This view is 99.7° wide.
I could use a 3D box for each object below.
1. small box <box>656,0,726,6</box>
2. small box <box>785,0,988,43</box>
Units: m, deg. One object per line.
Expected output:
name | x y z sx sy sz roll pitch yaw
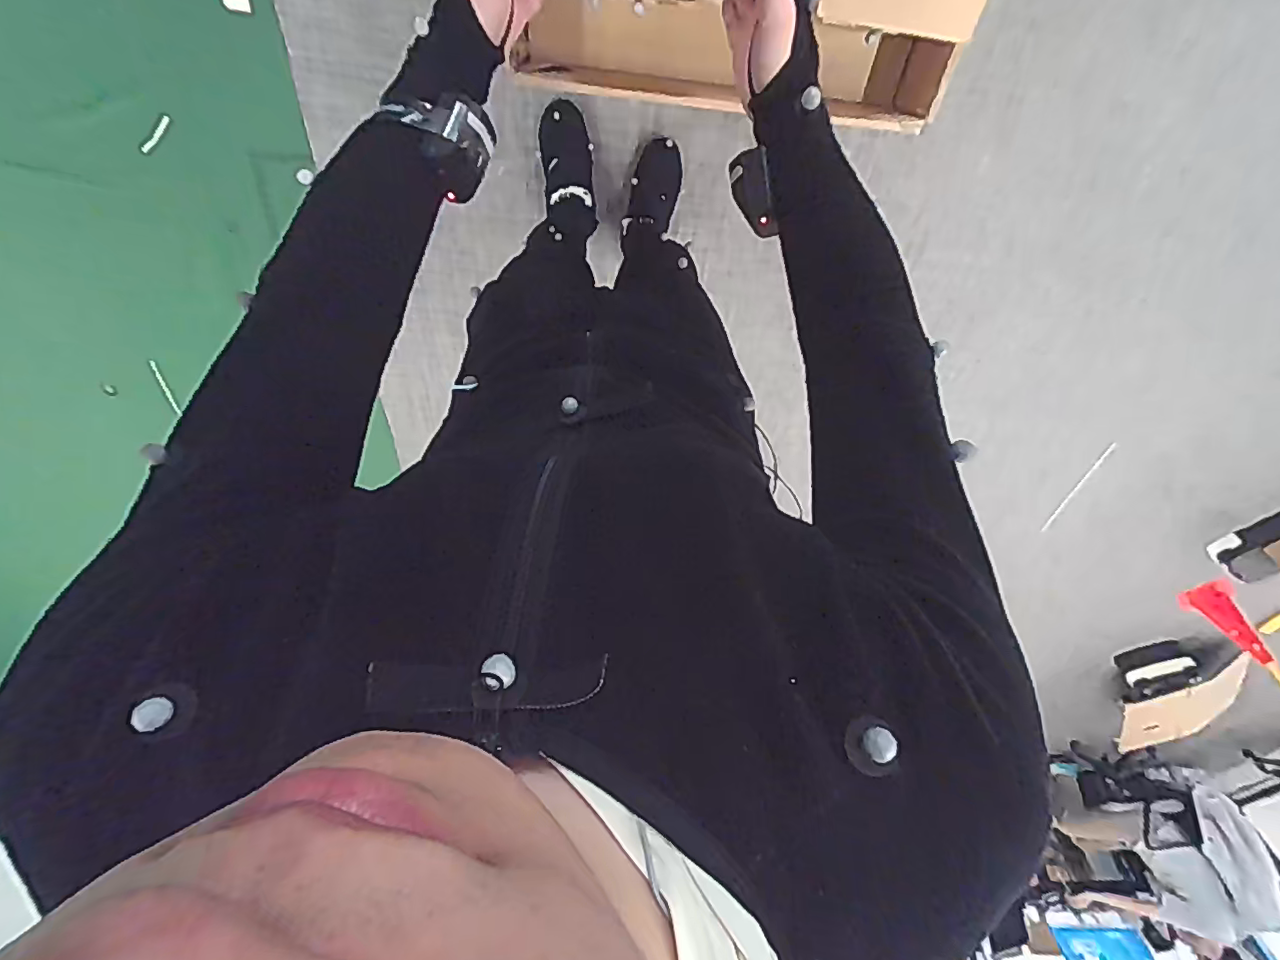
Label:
small box | 0.012 -0.596 0.535 0.168 0.176 0.179 3 131 -6
small box | 0.271 -0.582 0.566 0.179 0.176 0.168 4 133 -7
